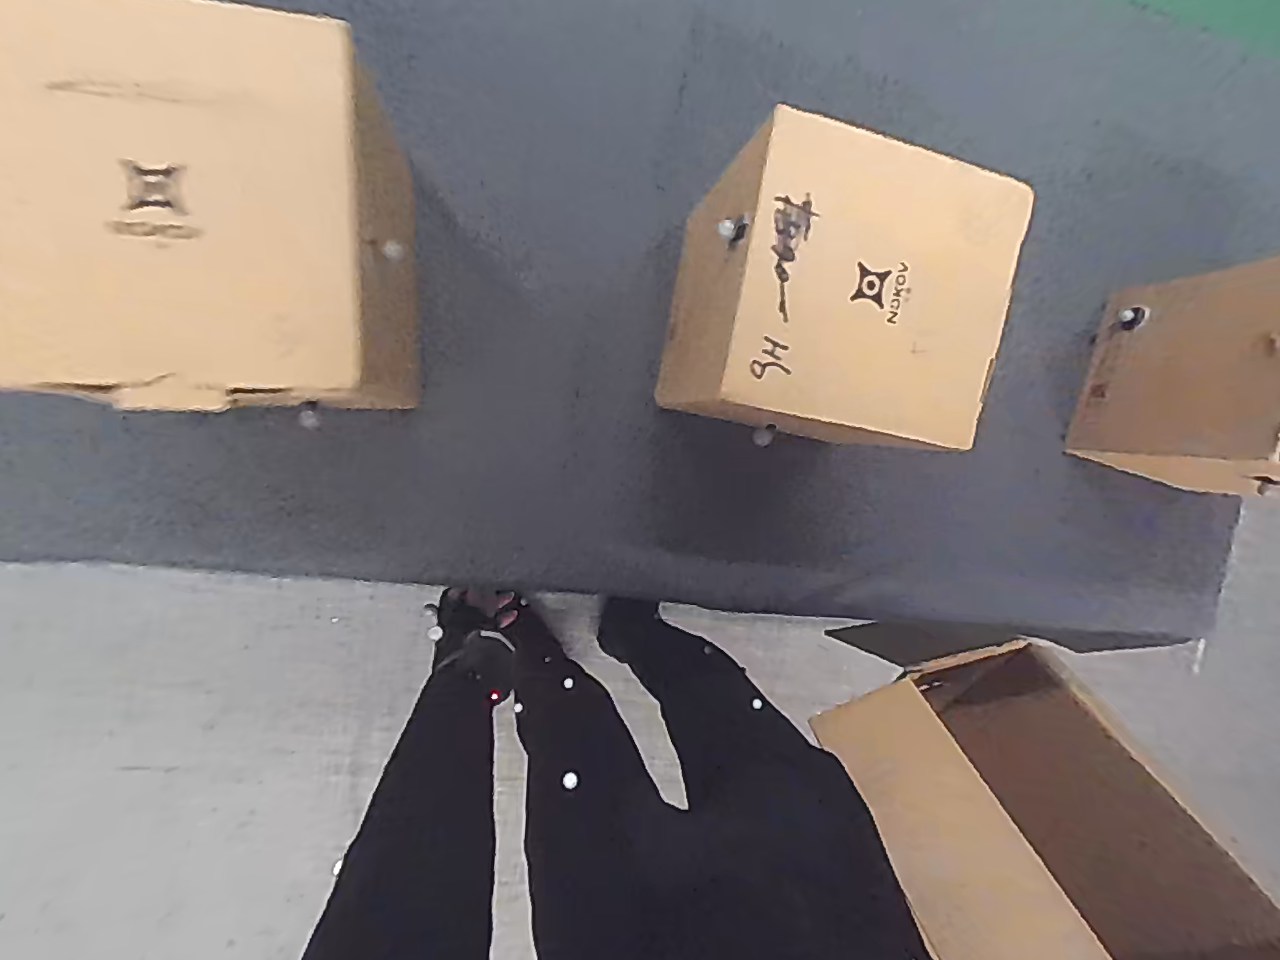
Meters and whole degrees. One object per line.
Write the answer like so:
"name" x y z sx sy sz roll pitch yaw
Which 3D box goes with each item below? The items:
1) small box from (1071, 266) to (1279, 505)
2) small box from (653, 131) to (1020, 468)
"small box" 0.545 -0.071 0.485 0.179 0.176 0.168 14 93 -12
"small box" 0.123 -0.109 0.401 0.179 0.176 0.168 10 93 -13
